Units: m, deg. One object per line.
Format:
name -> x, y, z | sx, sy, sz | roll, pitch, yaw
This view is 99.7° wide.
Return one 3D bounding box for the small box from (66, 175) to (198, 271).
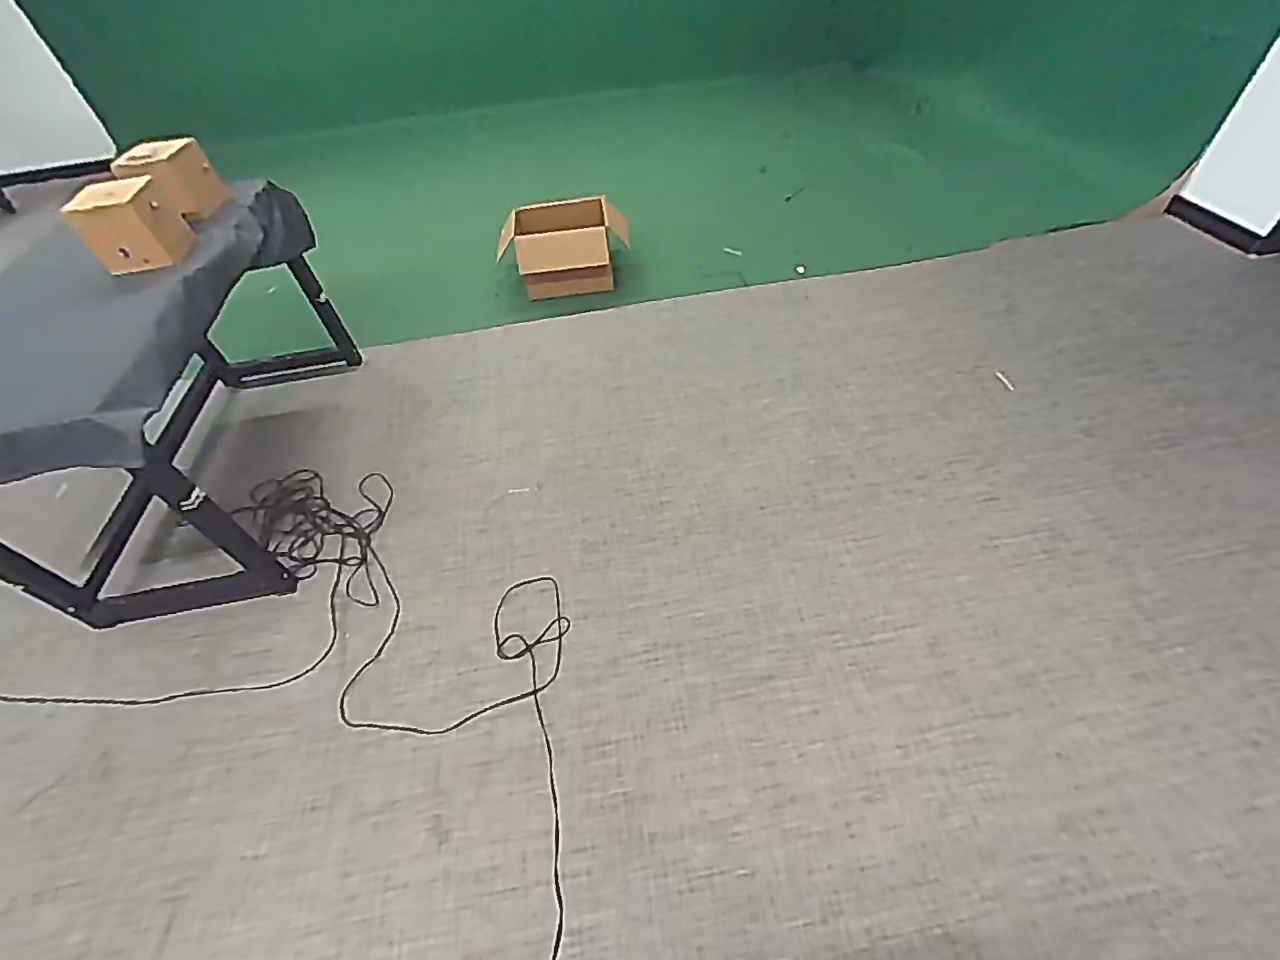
small box -> -1.337, -0.683, 1.442 | 0.168, 0.176, 0.179 | -12, 50, -4
